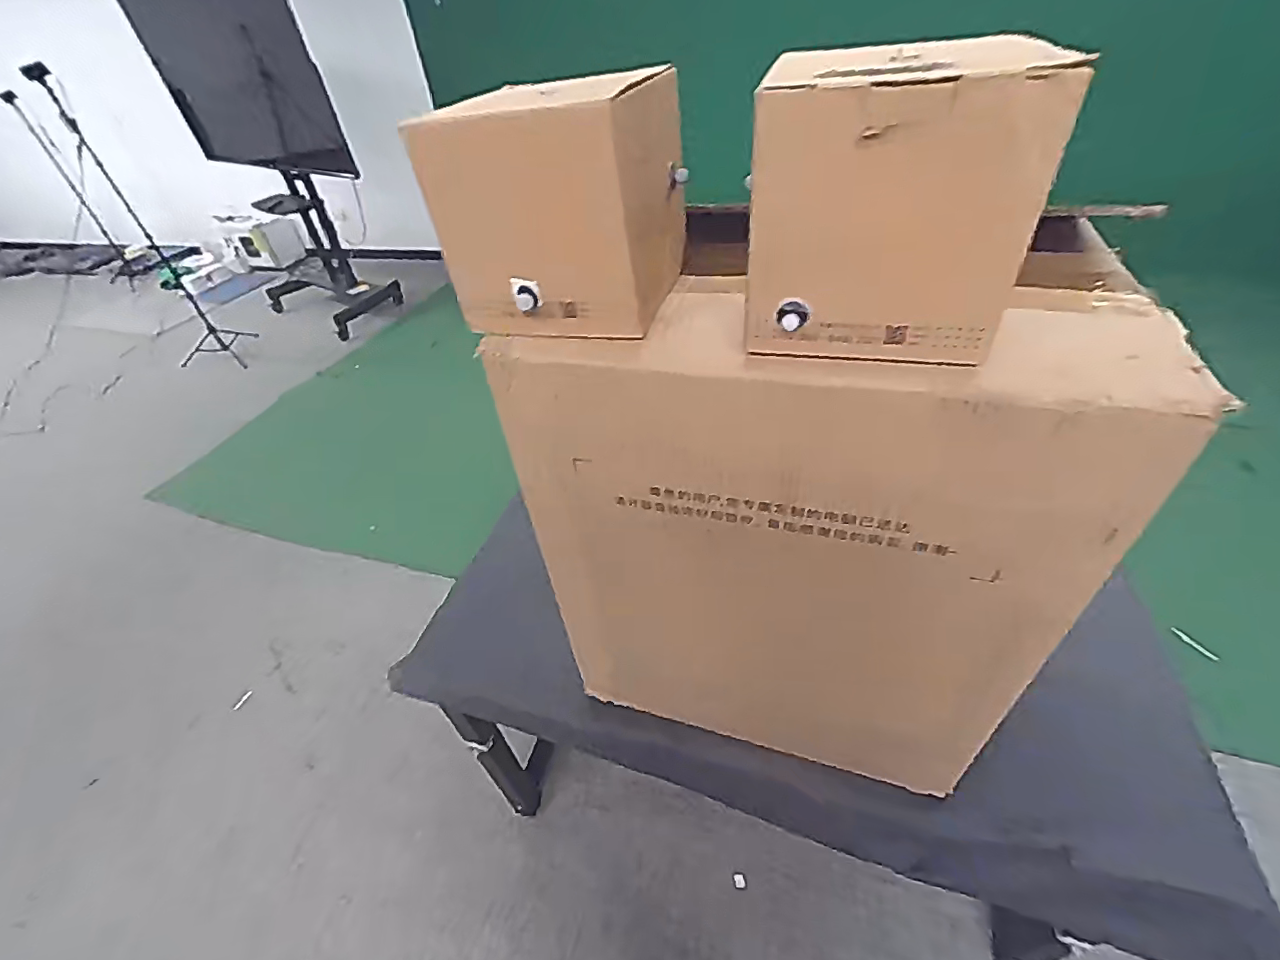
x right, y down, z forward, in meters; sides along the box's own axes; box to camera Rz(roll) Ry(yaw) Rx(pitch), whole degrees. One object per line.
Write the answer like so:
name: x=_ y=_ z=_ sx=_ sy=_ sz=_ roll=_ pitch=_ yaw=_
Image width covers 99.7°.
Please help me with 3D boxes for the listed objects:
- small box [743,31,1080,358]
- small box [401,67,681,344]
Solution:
small box: x=0.169 y=-0.203 z=0.395 sx=0.168 sy=0.176 sz=0.179 roll=7 pitch=44 yaw=15
small box: x=-0.063 y=-0.238 z=0.475 sx=0.168 sy=0.176 sz=0.179 roll=5 pitch=45 yaw=18
